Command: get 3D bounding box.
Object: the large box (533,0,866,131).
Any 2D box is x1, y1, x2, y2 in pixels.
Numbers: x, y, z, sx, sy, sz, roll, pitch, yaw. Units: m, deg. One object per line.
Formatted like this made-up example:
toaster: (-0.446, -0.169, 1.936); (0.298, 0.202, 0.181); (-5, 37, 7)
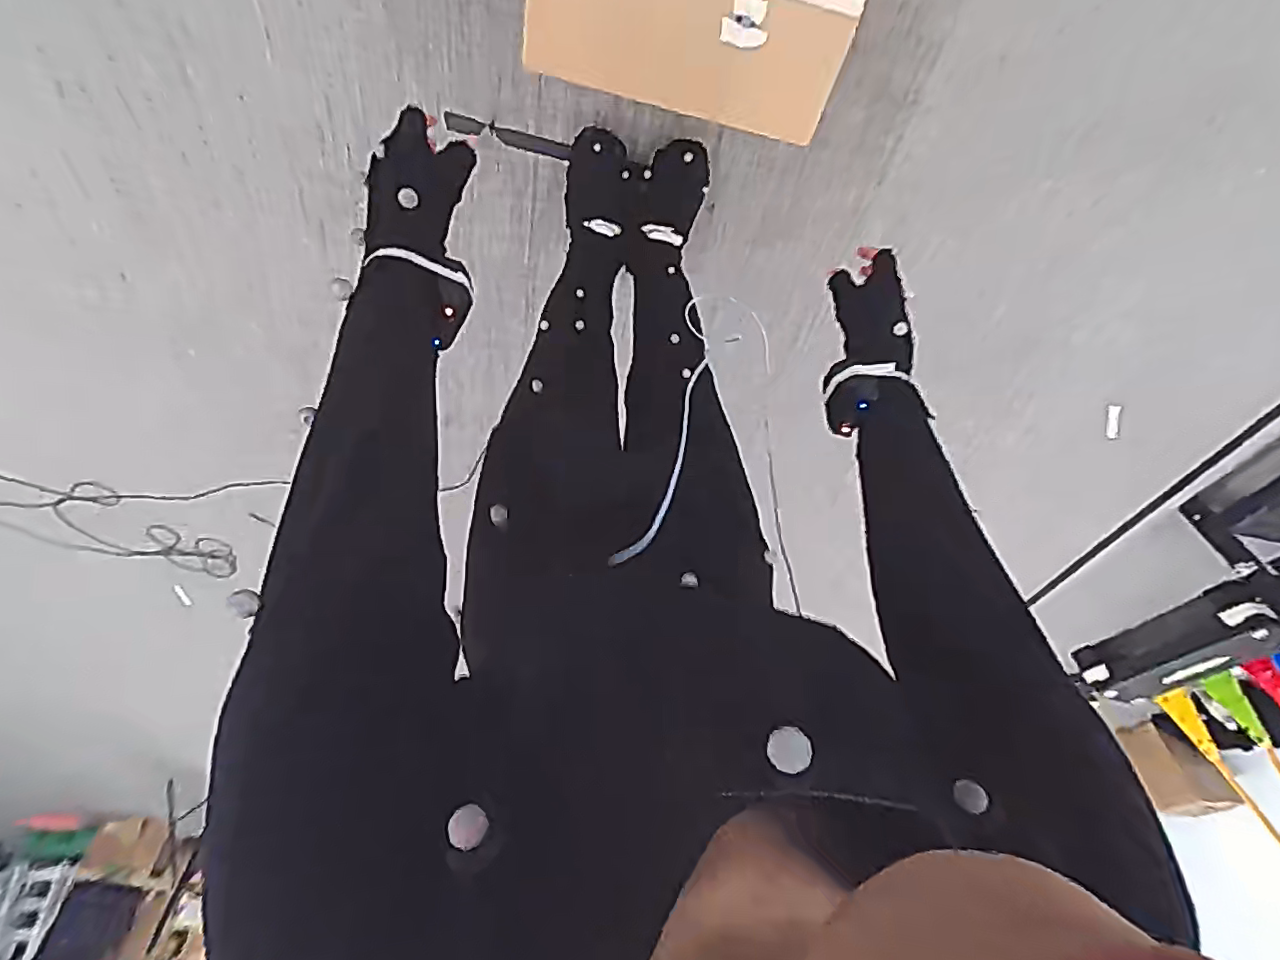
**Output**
large box: (0.083, -0.729, 0.728); (0.408, 0.320, 0.320); (9, 136, -10)
